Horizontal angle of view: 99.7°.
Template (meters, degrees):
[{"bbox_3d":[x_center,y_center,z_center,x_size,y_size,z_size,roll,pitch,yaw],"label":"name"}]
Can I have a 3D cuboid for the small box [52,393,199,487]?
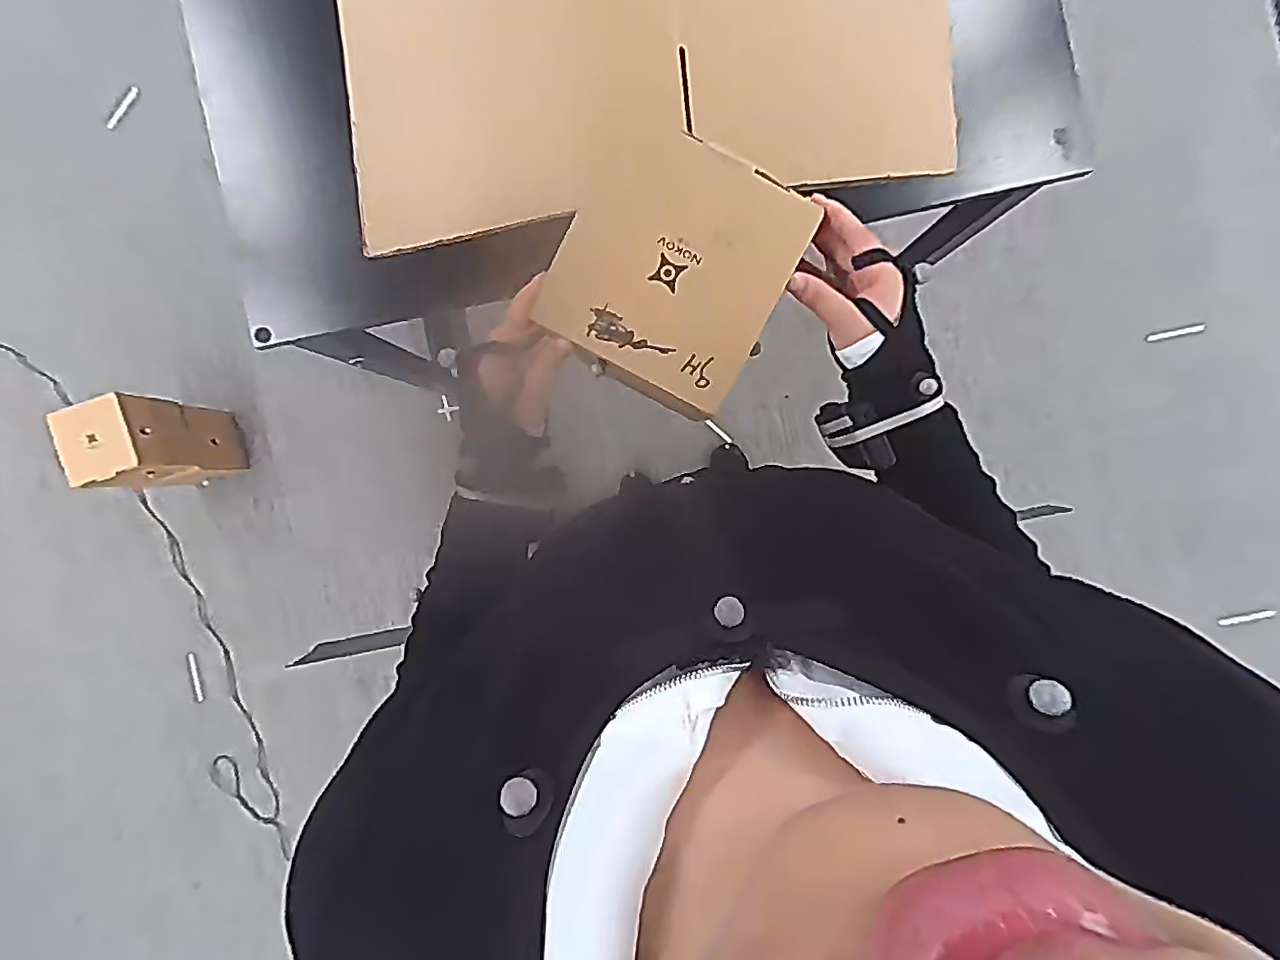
[{"bbox_3d":[-1.204,-0.091,1.282,0.168,0.176,0.179,-19,89,1],"label":"small box"}]

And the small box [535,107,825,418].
[{"bbox_3d":[0.030,-0.171,0.487,0.168,0.176,0.179,28,94,0],"label":"small box"}]

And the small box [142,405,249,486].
[{"bbox_3d":[-1.198,-0.088,1.444,0.168,0.176,0.179,-15,91,2],"label":"small box"}]
